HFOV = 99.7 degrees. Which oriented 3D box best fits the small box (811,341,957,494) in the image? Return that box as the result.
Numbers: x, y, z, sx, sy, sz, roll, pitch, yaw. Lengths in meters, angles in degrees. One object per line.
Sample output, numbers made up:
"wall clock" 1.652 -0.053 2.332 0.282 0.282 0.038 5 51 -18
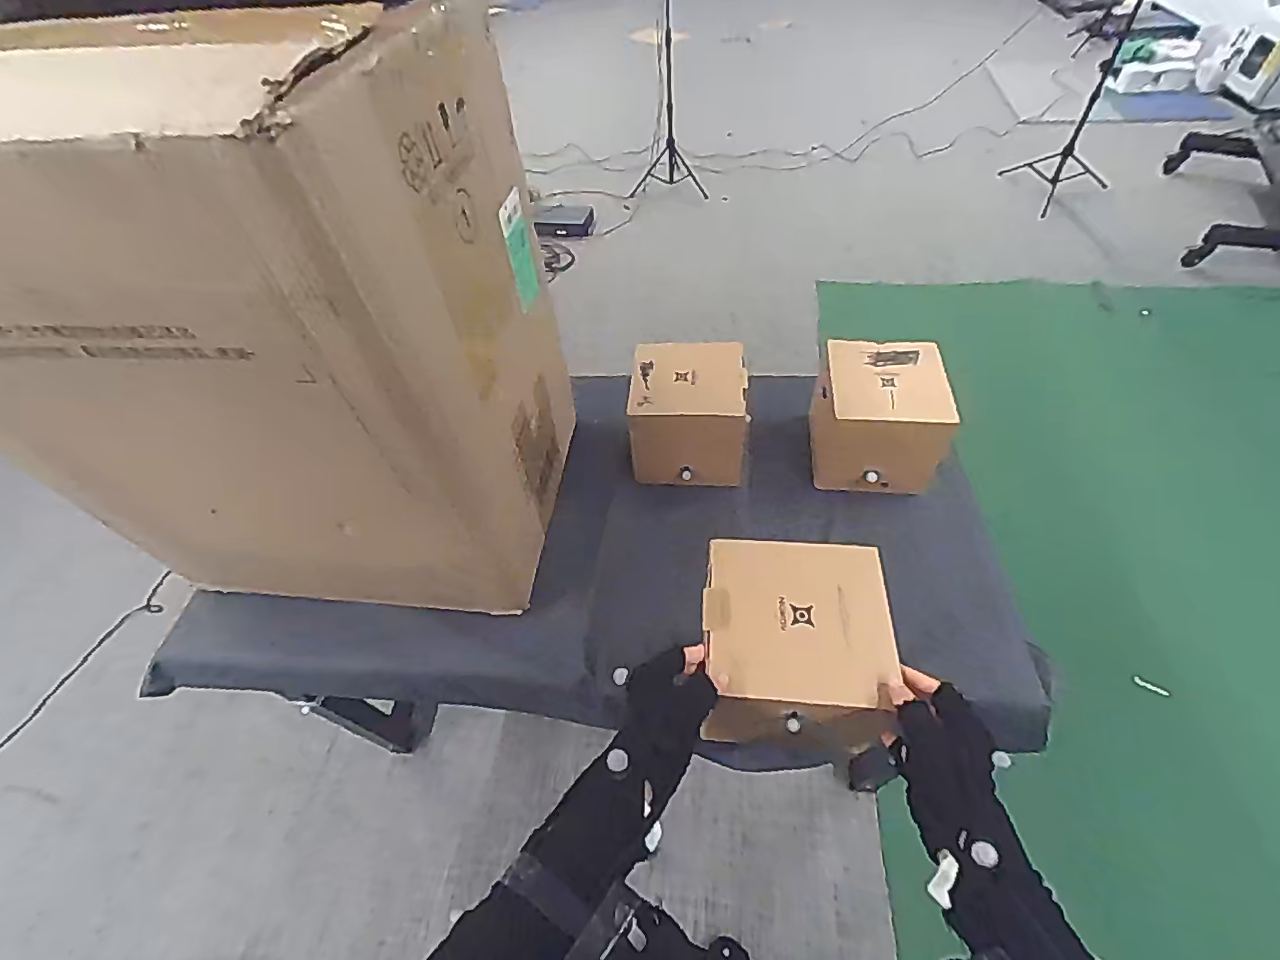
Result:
"small box" 0.375 -0.100 0.868 0.168 0.176 0.179 3 53 8
